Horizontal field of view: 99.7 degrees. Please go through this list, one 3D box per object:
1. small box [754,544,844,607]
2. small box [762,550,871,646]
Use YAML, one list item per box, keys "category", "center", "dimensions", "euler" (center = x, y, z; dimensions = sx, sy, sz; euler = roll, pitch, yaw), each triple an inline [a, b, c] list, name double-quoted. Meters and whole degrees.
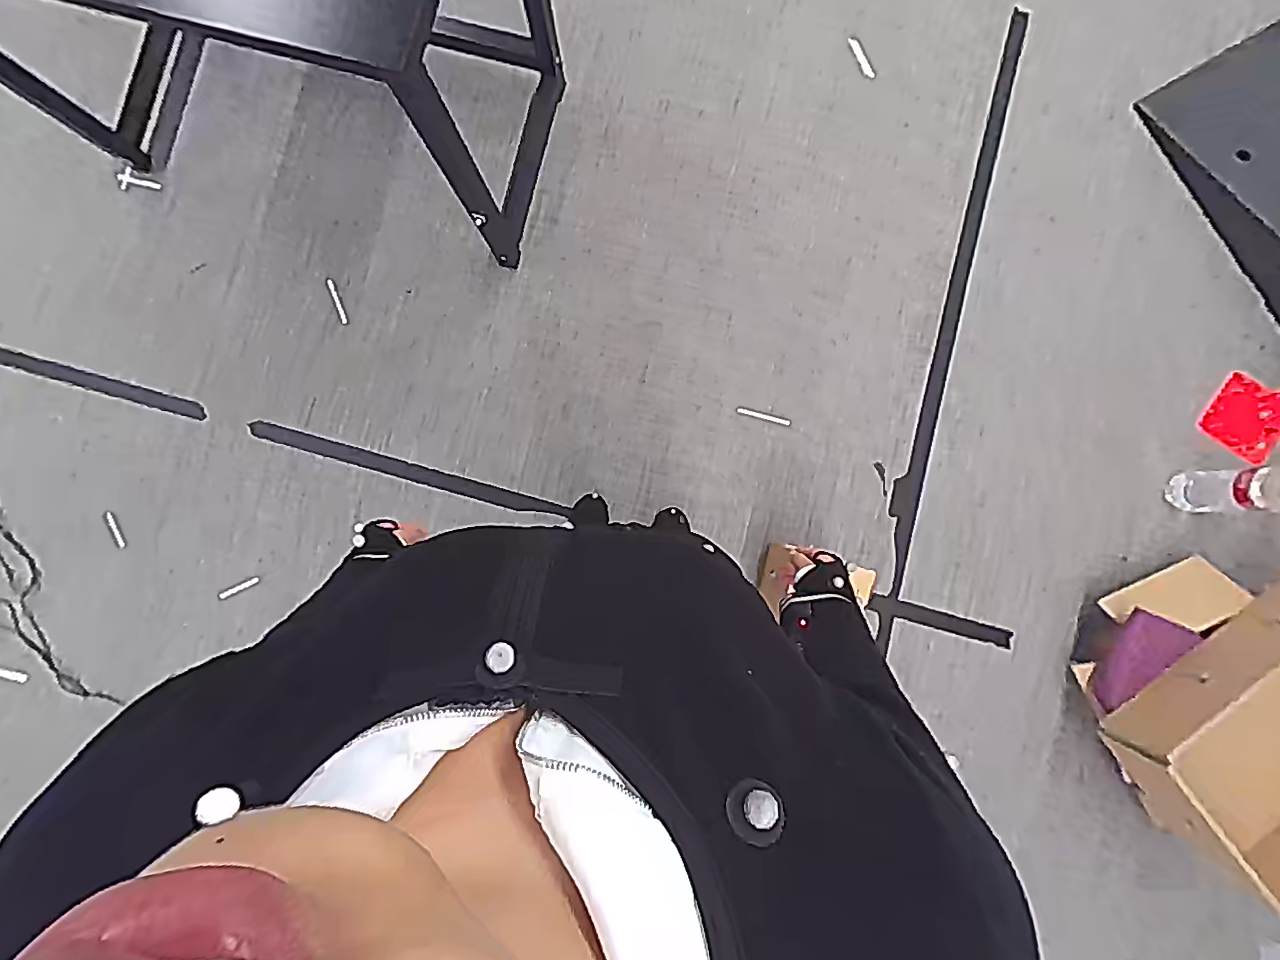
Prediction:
- category: "small box"
  center: [0.408, 0.271, 1.415]
  dimensions: [0.168, 0.176, 0.179]
  euler: [15, 87, 2]
- category: "small box"
  center: [0.399, 0.263, 1.251]
  dimensions: [0.179, 0.176, 0.168]
  euler: [15, 87, 3]
